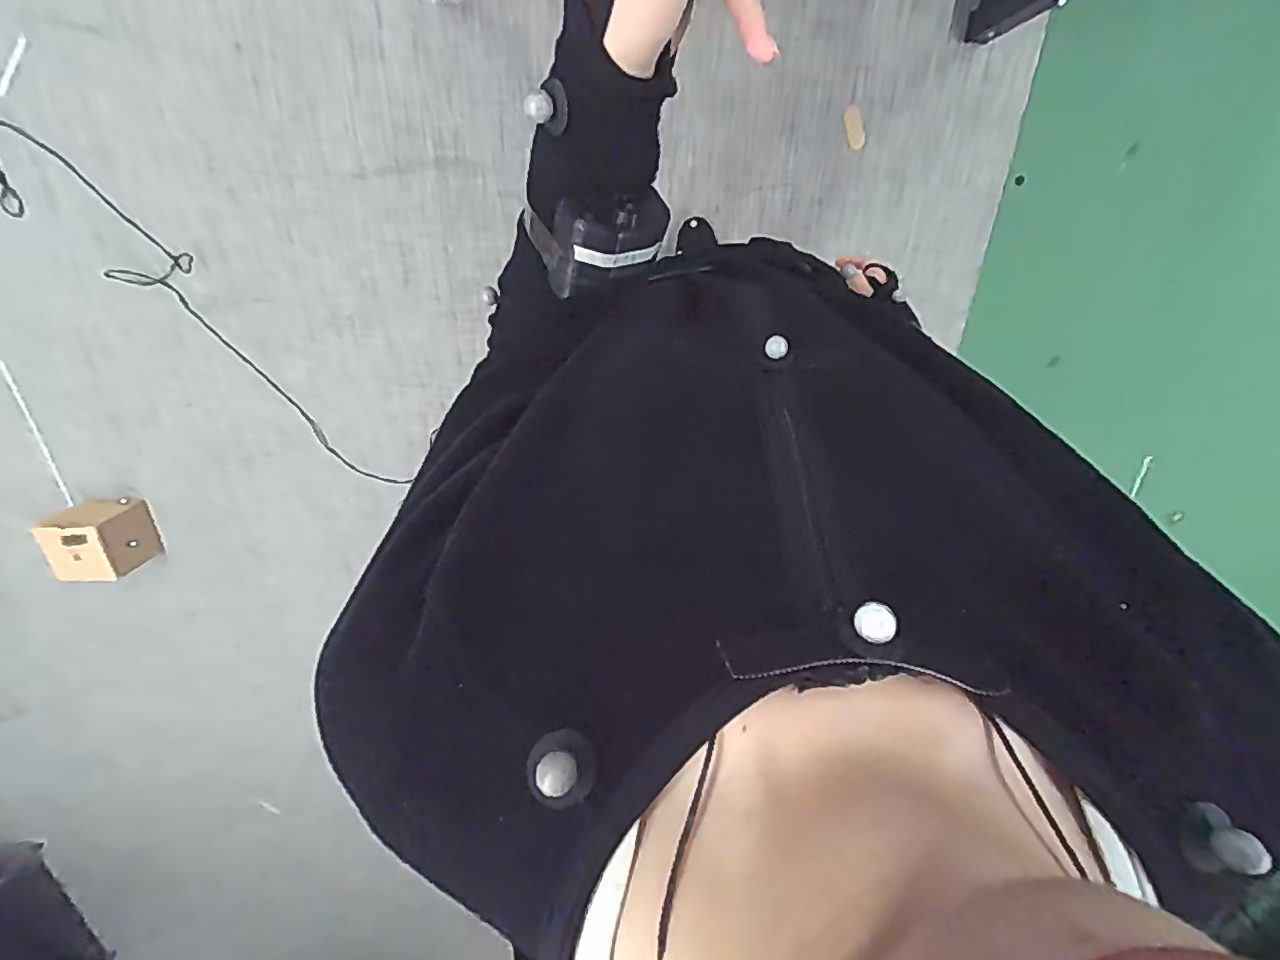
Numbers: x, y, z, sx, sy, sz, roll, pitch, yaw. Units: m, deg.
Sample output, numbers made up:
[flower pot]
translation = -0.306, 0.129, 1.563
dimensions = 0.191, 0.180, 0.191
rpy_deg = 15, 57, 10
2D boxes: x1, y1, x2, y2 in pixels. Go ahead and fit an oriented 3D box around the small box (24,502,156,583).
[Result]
[small box]
translation = -1.531, 0.171, 1.519
dimensions = 0.168, 0.176, 0.179
rpy_deg = 1, 115, -1
